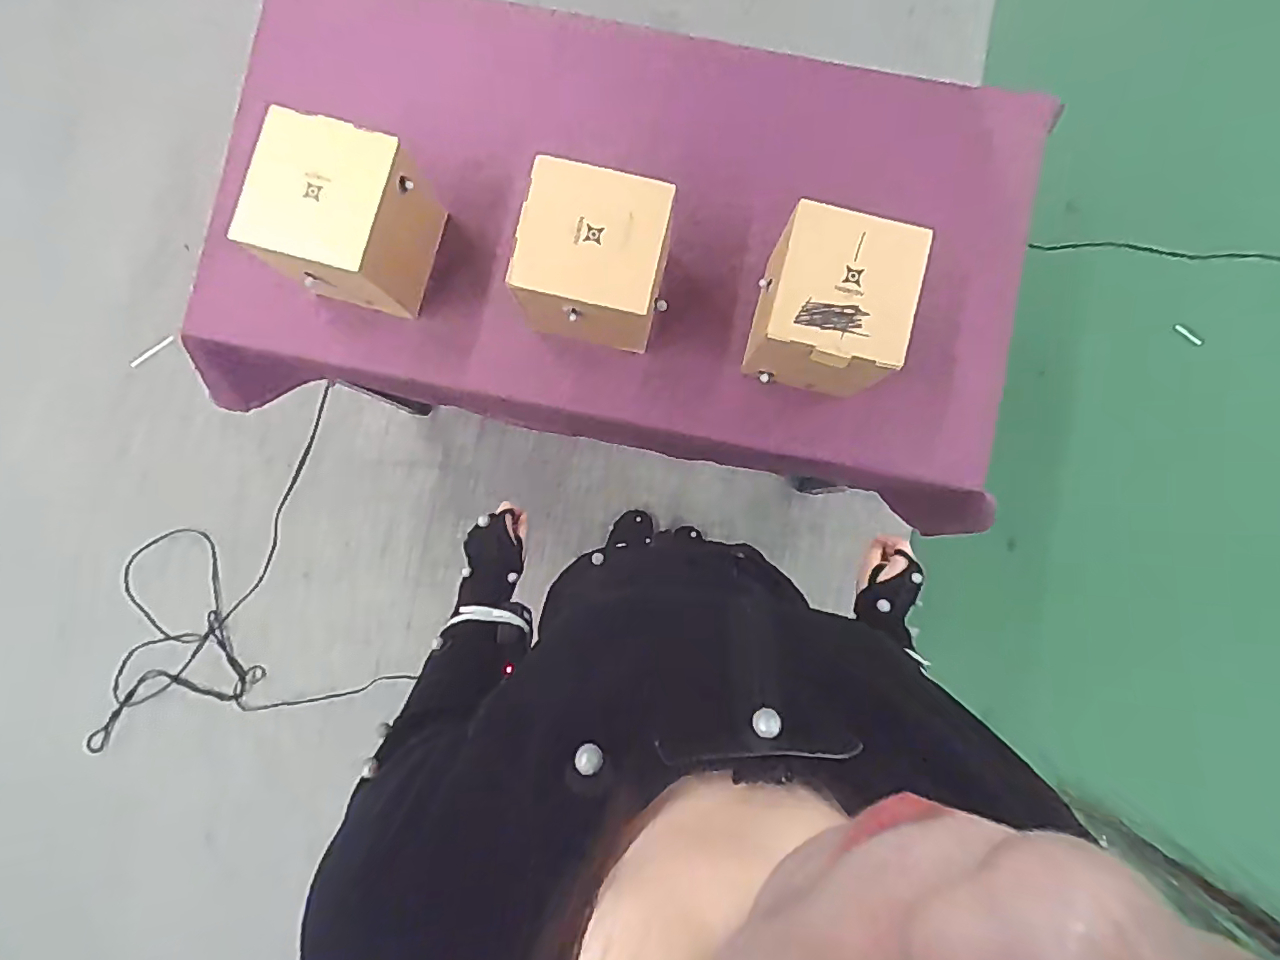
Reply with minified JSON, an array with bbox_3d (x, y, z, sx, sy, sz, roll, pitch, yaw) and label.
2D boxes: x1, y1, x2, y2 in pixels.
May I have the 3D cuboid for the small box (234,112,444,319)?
[{"bbox_3d":[-0.389,-0.342,0.733,0.168,0.176,0.179,15,86,1],"label":"small box"}]

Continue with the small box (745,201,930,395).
[{"bbox_3d":[0.246,-0.226,0.717,0.168,0.176,0.179,14,86,1],"label":"small box"}]

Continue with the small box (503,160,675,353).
[{"bbox_3d":[-0.060,-0.285,0.727,0.179,0.176,0.168,14,87,1],"label":"small box"}]
